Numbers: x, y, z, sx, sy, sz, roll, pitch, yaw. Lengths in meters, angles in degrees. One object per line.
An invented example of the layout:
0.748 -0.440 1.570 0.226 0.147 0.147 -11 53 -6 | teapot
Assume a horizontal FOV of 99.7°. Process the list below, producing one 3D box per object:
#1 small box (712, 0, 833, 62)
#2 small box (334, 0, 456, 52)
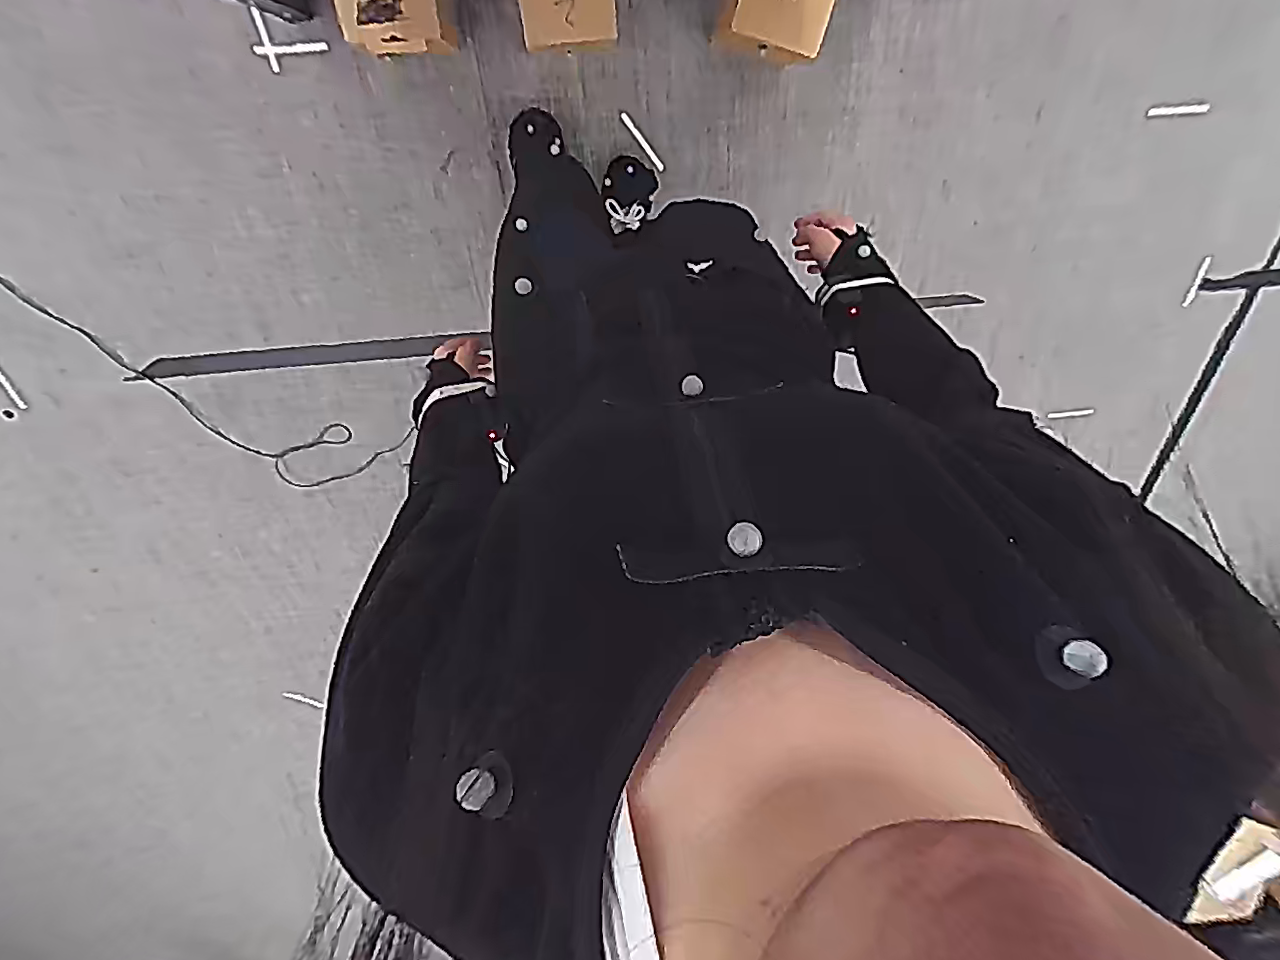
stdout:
0.253 -0.911 1.015 0.179 0.176 0.168 8 122 -12 | small box
-0.434 -0.868 0.947 0.168 0.176 0.179 -6 122 -4 | small box
